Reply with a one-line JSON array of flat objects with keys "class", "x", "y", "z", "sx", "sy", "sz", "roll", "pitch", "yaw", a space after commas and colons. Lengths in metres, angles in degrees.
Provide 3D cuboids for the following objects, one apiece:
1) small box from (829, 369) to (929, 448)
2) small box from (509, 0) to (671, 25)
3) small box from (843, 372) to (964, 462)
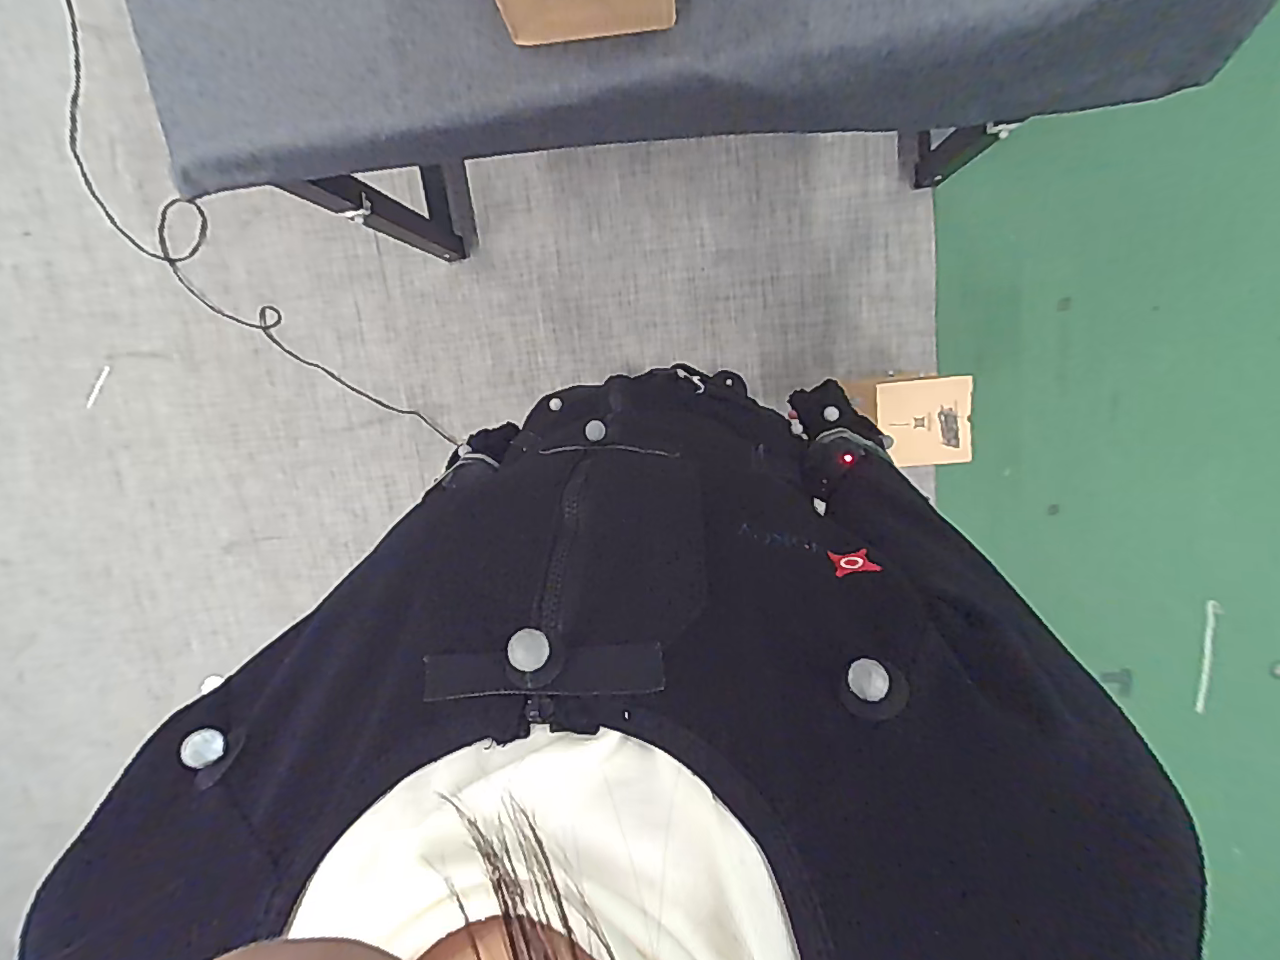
[{"class": "small box", "x": 0.558, "y": -0.170, "z": 1.274, "sx": 0.179, "sy": 0.176, "sz": 0.168, "roll": -6, "pitch": 101, "yaw": 7}, {"class": "small box", "x": -0.058, "y": -0.555, "z": 0.487, "sx": 0.179, "sy": 0.176, "sz": 0.168, "roll": -2, "pitch": 101, "yaw": 5}, {"class": "small box", "x": 0.534, "y": -0.134, "z": 1.115, "sx": 0.179, "sy": 0.176, "sz": 0.168, "roll": -3, "pitch": 101, "yaw": 6}]
